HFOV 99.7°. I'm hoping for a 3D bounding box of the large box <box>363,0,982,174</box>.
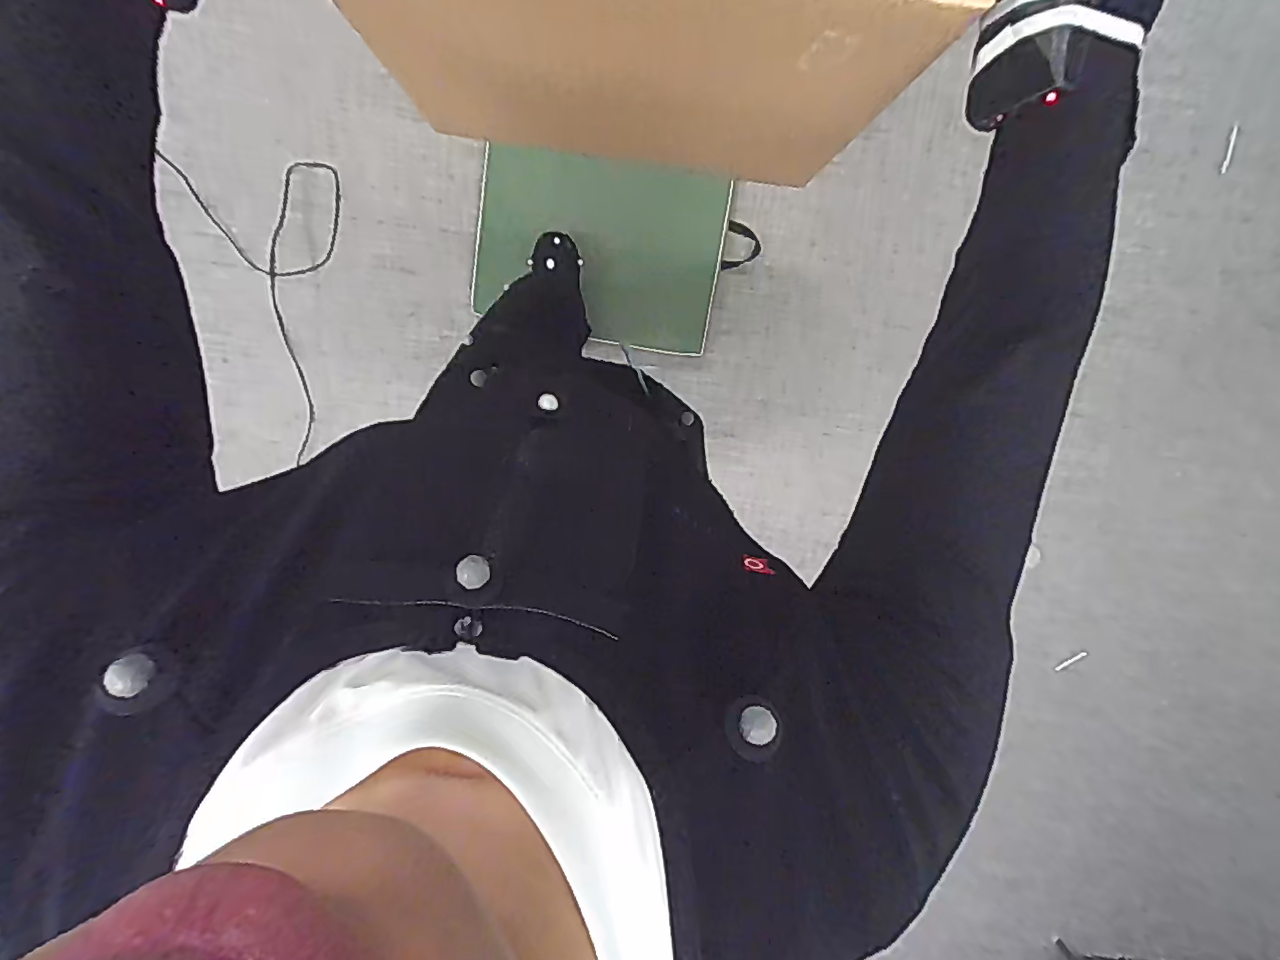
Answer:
[{"bbox_3d":[0.012,-0.472,0.414,0.408,0.320,0.320,6,103,-5],"label":"large box"}]
